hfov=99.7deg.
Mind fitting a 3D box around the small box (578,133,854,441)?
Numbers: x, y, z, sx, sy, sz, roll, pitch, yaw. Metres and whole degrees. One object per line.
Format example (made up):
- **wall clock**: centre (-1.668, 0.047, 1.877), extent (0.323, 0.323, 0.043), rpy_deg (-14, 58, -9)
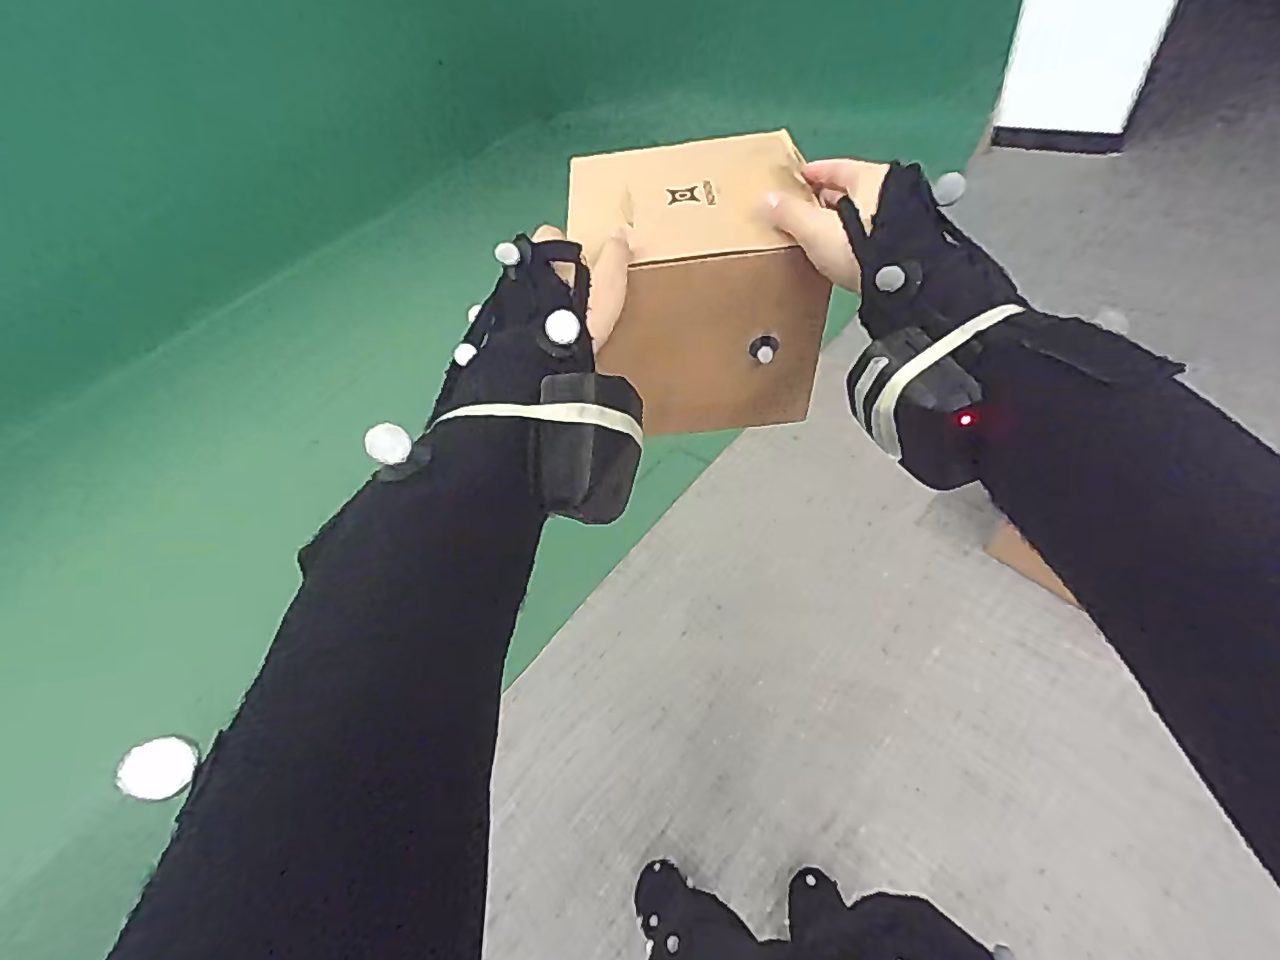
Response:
- **small box**: centre (0.053, -0.151, 0.448), extent (0.179, 0.176, 0.168), rpy_deg (-6, 53, 4)
